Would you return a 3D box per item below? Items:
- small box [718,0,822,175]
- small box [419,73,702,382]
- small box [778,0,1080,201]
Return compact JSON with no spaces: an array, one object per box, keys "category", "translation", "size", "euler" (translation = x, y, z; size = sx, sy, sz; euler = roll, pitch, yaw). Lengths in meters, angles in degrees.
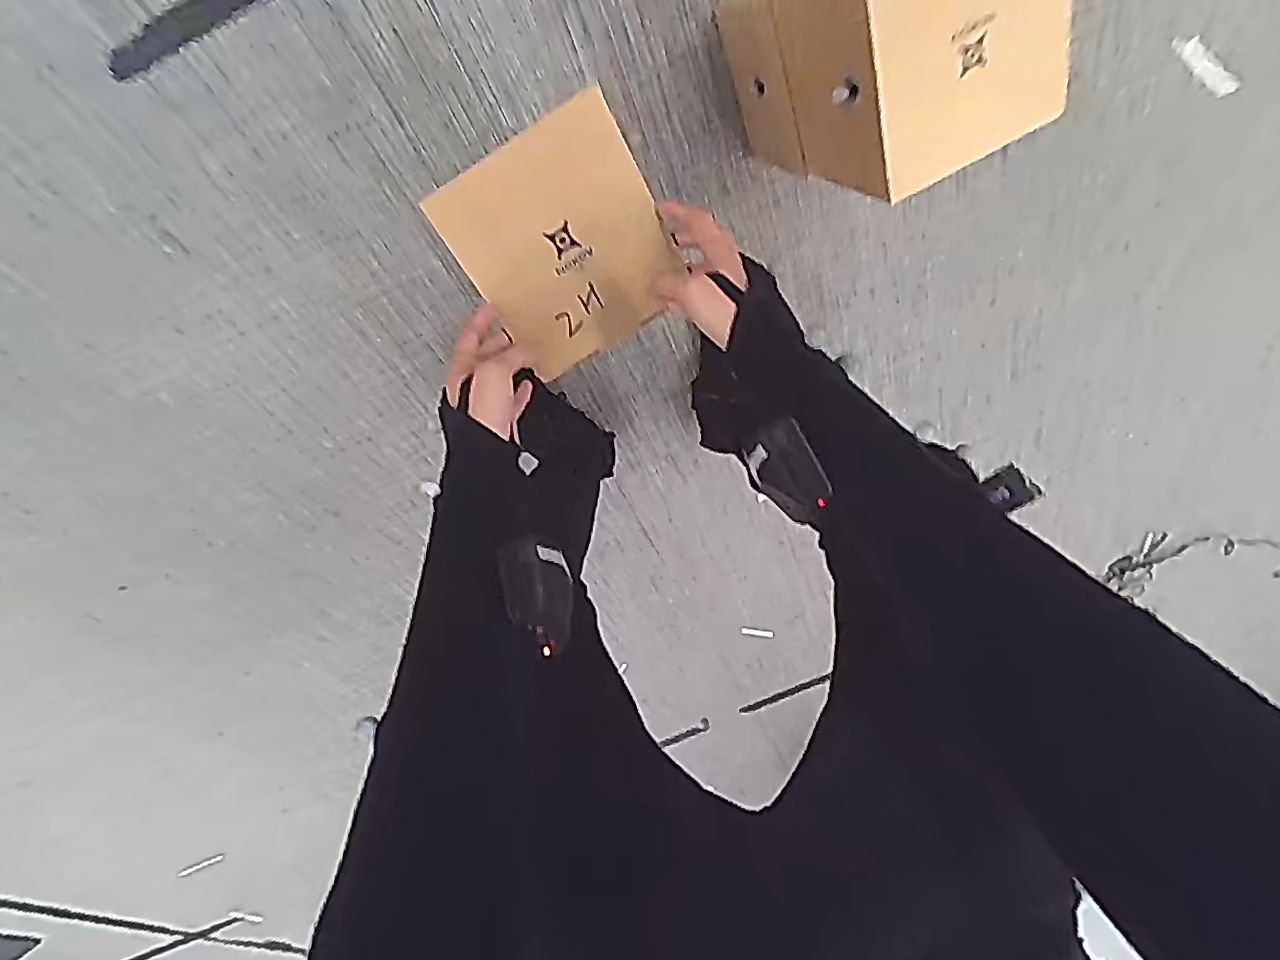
[{"category":"small box","translation":[0.209,-0.485,0.612],"size":[0.168,0.176,0.179],"euler":[-27,128,6]},{"category":"small box","translation":[-0.068,-0.223,0.500],"size":[0.168,0.176,0.179],"euler":[-29,119,7]},{"category":"small box","translation":[0.247,-0.389,0.486],"size":[0.168,0.176,0.179],"euler":[-27,128,5]}]
